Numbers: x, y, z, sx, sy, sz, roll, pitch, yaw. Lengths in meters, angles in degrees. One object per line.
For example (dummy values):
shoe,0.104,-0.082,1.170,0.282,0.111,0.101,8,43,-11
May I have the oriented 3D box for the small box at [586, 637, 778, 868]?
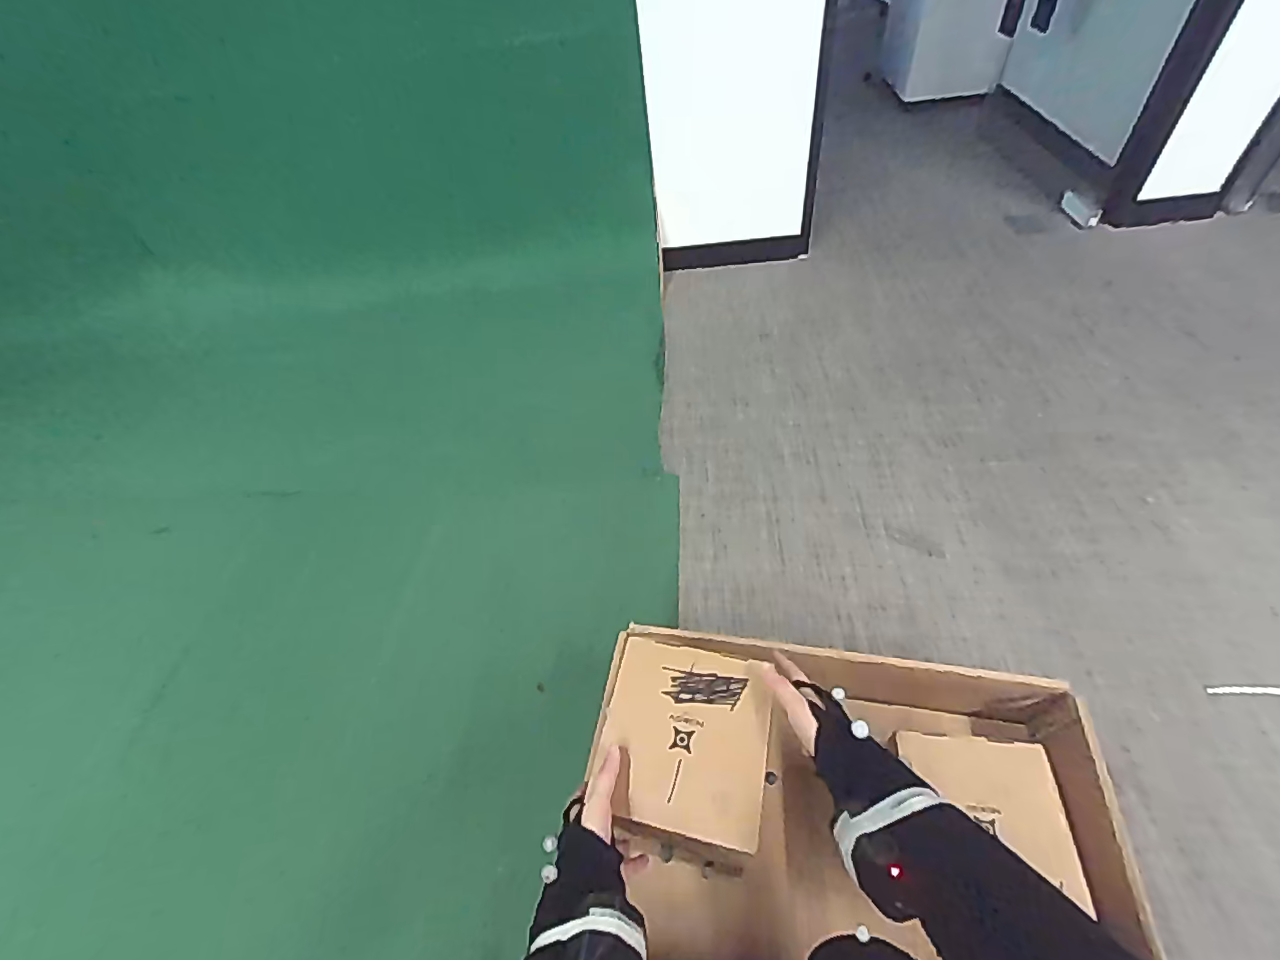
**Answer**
small box,0.054,0.303,0.601,0.168,0.176,0.179,7,53,14
